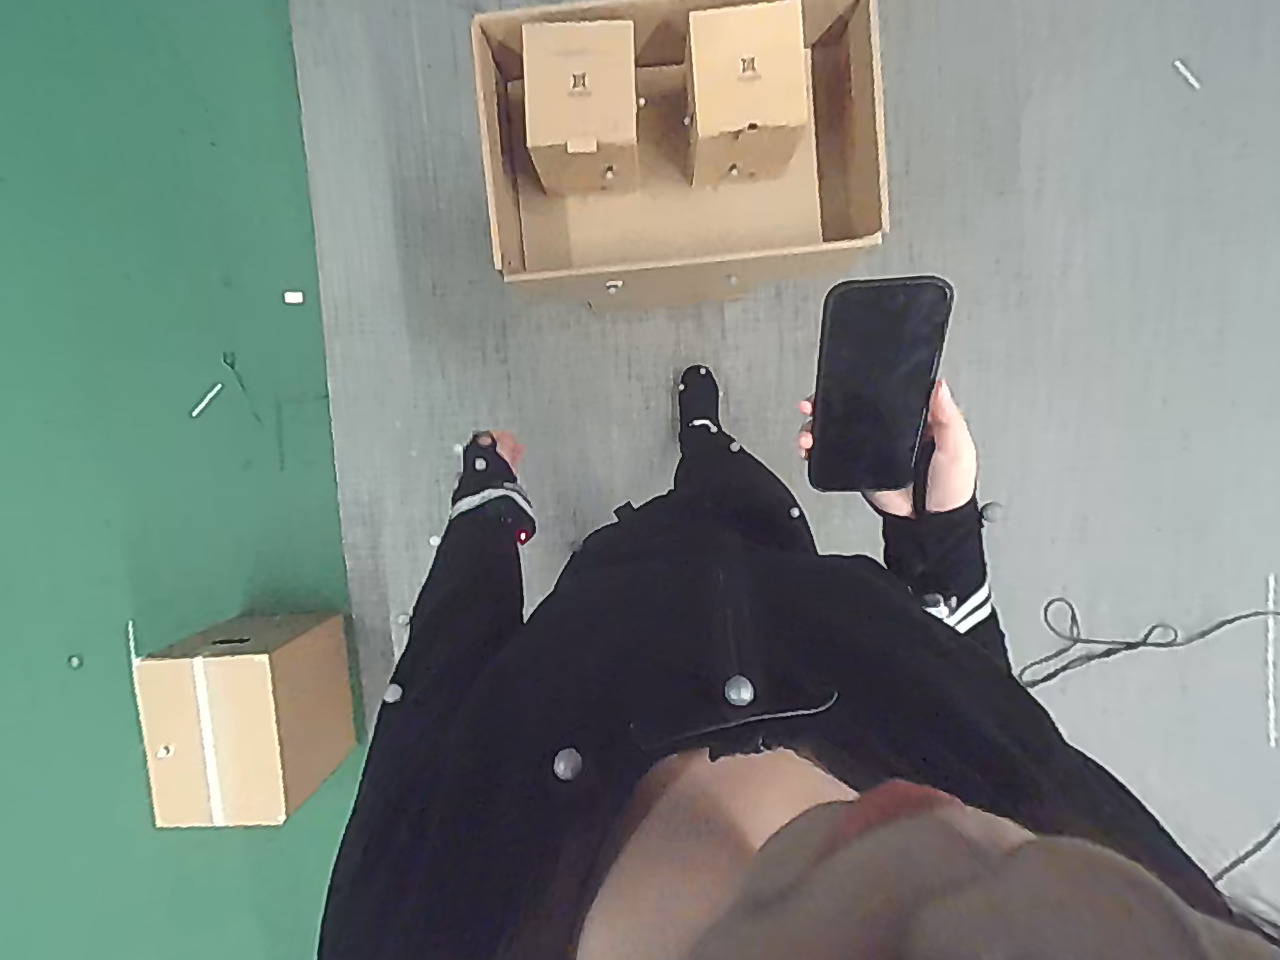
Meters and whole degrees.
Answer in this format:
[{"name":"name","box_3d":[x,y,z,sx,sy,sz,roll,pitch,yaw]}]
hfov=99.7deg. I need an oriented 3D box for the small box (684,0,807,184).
[{"name":"small box","box_3d":[0.161,-0.608,0.868,0.168,0.176,0.179,-5,95,3]}]
